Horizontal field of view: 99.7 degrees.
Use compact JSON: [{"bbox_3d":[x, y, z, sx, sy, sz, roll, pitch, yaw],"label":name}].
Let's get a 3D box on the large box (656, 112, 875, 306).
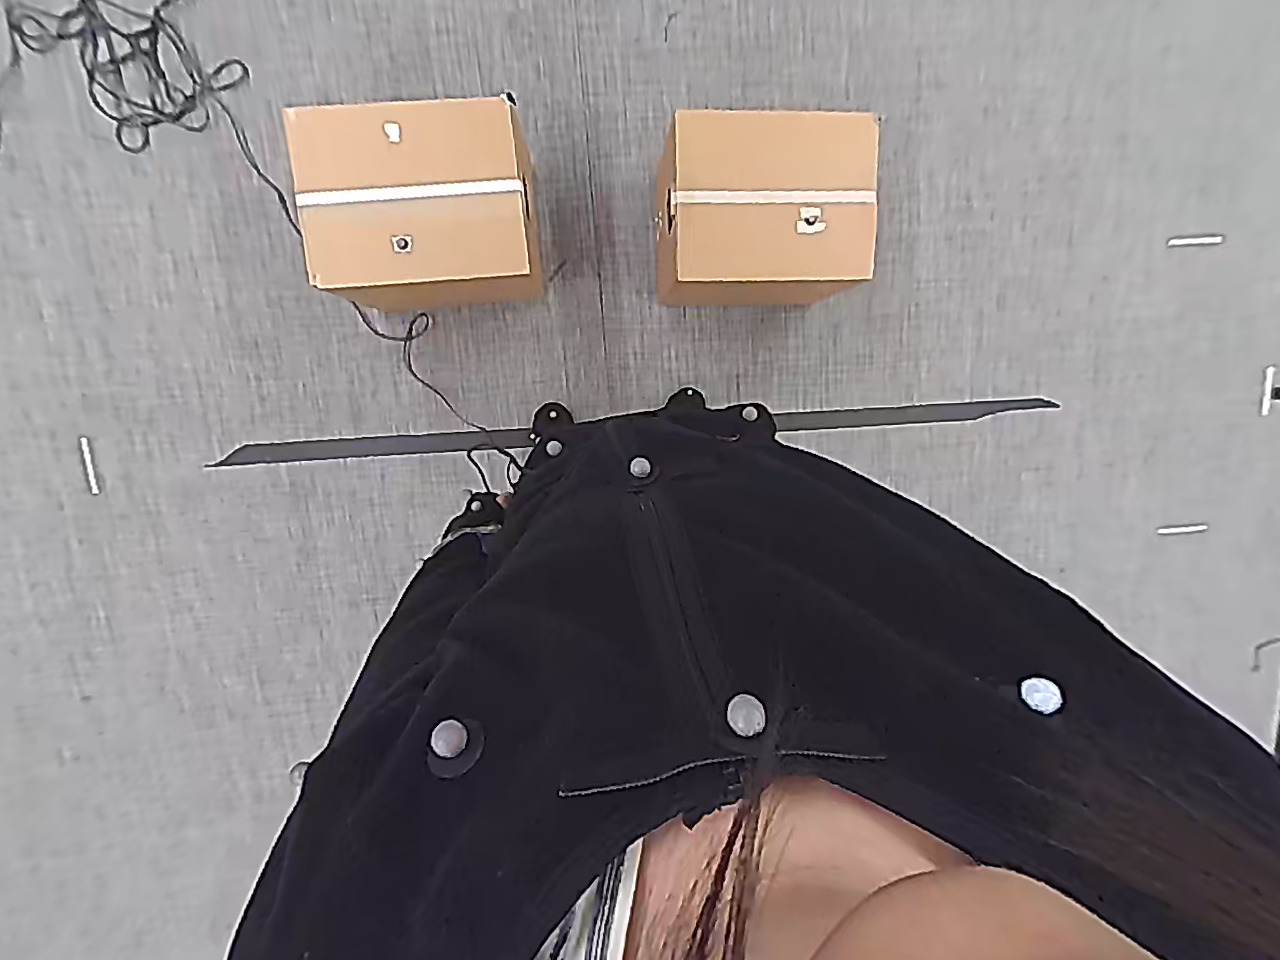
[{"bbox_3d":[0.256,-0.578,1.214,0.408,0.320,0.320,-2,99,-5],"label":"large box"}]
